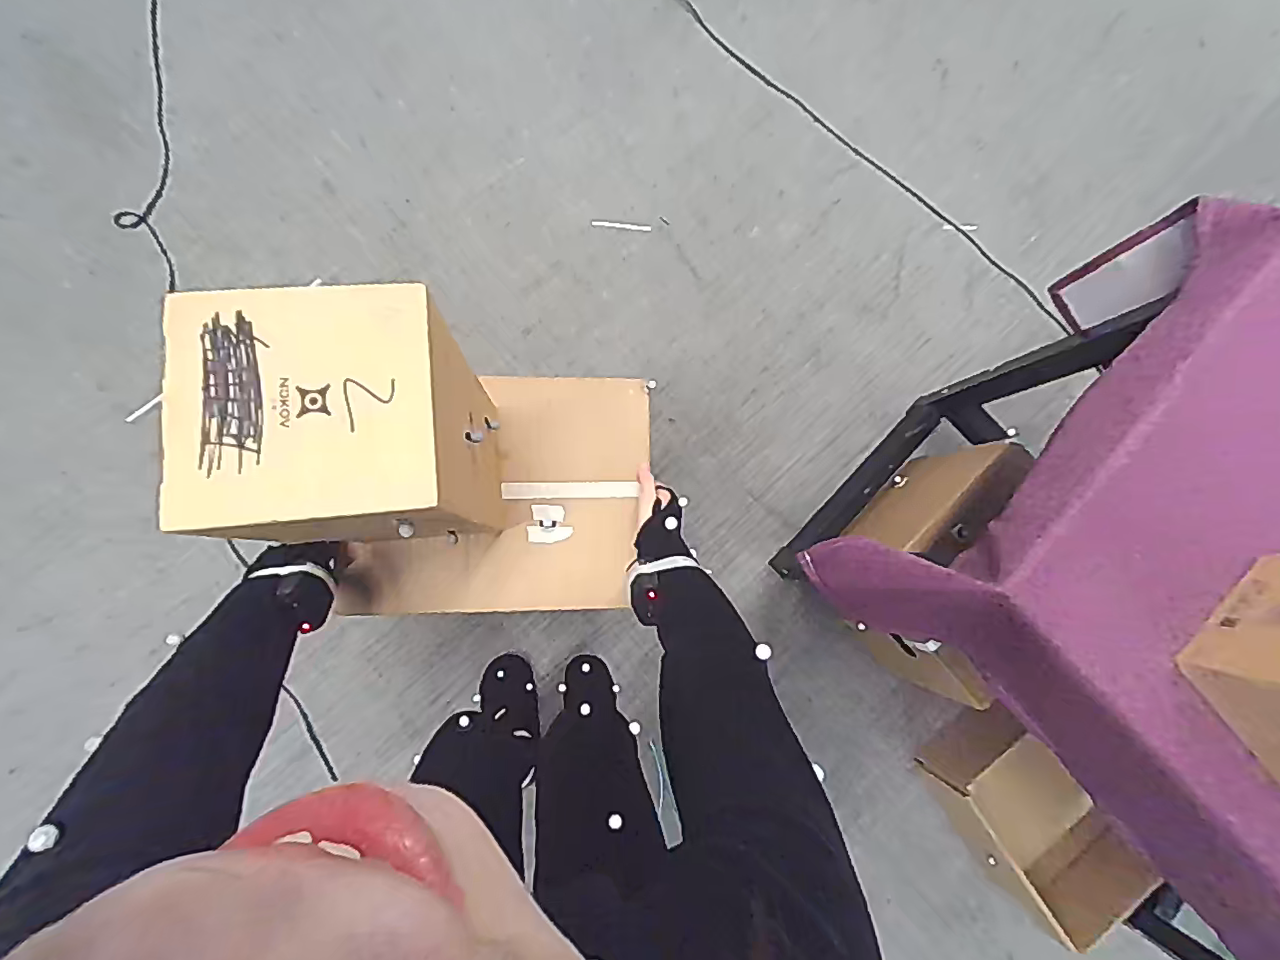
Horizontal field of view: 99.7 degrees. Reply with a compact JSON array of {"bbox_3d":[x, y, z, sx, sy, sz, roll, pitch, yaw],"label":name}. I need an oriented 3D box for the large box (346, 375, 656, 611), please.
[{"bbox_3d":[-0.198,0.028,0.866,0.408,0.320,0.320,0,84,-7],"label":"large box"}]

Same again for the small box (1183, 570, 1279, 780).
[{"bbox_3d":[0.660,0.188,0.478,0.168,0.176,0.179,-40,89,-8],"label":"small box"}]

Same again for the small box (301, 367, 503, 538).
[{"bbox_3d":[-0.255,-0.022,0.620,0.179,0.176,0.168,-4,82,-6],"label":"small box"}]
